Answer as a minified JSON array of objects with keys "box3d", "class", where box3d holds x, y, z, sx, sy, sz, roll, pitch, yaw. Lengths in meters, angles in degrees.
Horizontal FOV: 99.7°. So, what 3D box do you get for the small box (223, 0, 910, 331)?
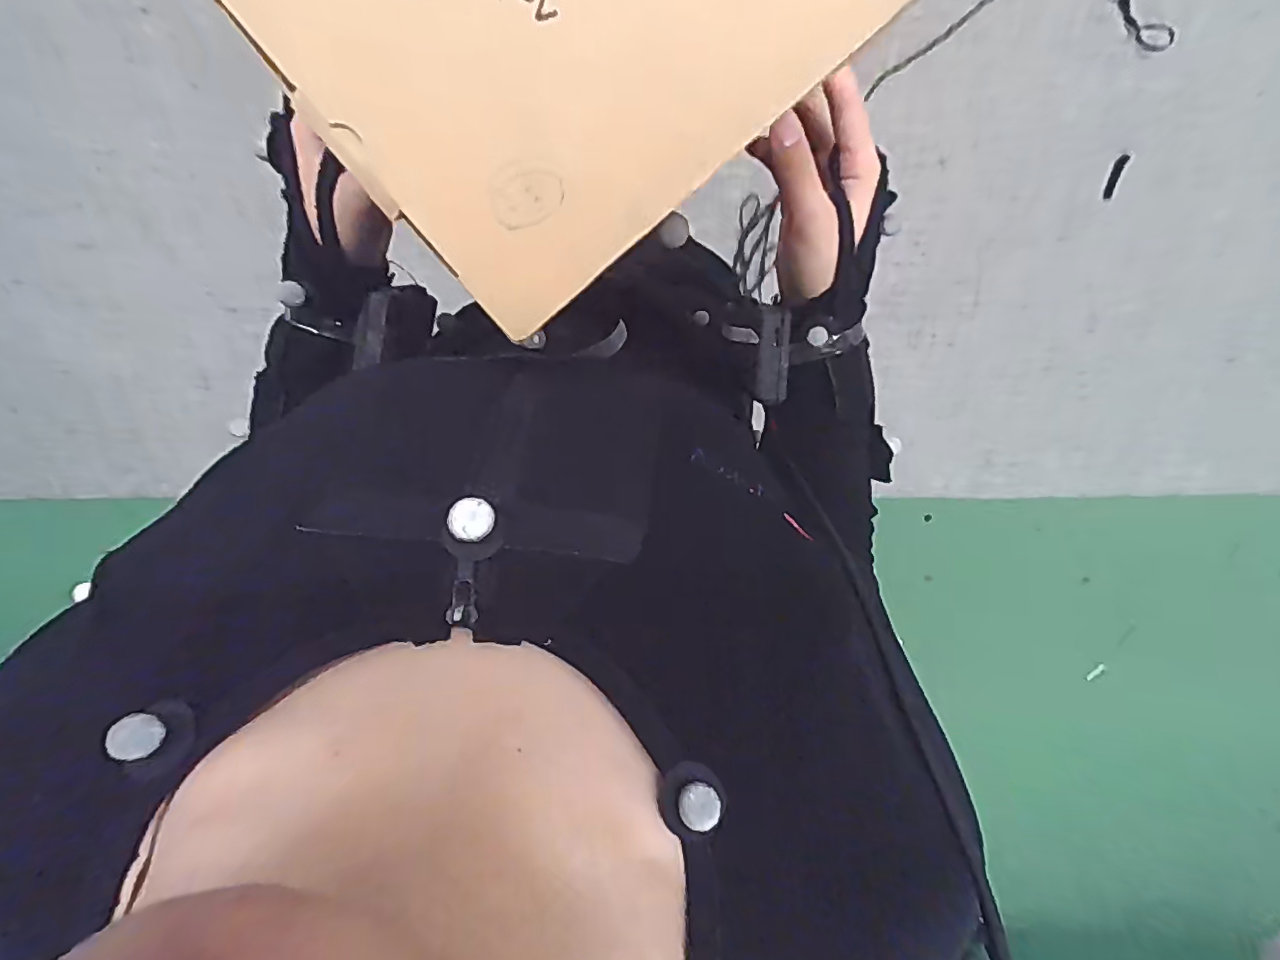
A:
[{"box3d":[-0.025,-0.193,0.227,0.179,0.176,0.168,-34,110,18],"class":"small box"}]
